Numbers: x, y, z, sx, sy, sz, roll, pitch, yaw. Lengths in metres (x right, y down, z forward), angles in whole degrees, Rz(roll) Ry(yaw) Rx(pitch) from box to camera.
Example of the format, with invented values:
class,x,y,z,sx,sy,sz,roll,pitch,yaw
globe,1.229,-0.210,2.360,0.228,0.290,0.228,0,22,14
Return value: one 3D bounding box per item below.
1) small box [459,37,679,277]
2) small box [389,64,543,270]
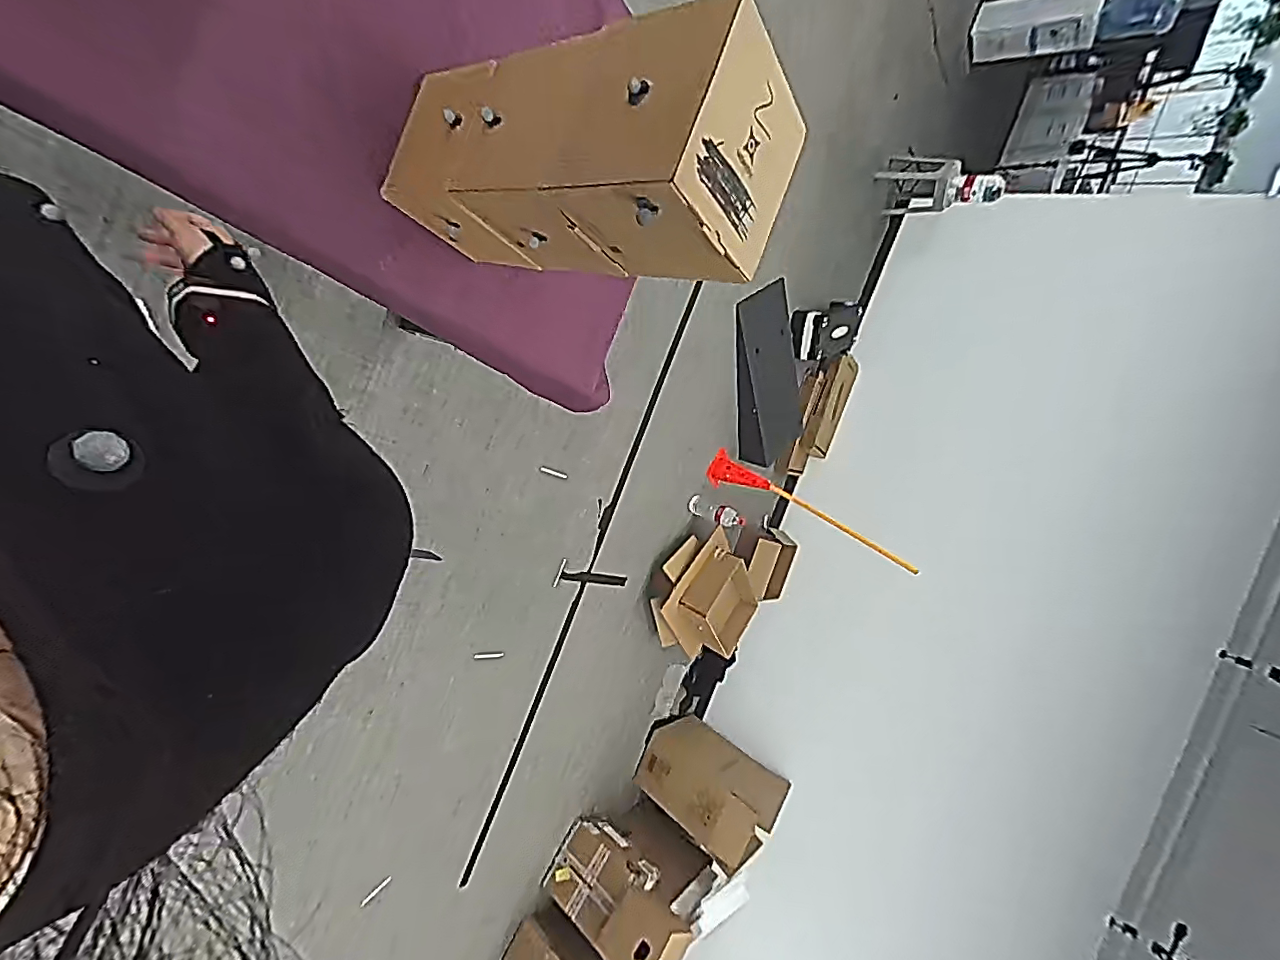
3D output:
class,x,y,z,sx,sy,sz,roll,pitch,yaw
small box,-0.088,-0.371,0.651,0.168,0.176,0.179,23,89,-54
small box,-0.214,-0.415,0.745,0.168,0.176,0.179,21,89,-54
